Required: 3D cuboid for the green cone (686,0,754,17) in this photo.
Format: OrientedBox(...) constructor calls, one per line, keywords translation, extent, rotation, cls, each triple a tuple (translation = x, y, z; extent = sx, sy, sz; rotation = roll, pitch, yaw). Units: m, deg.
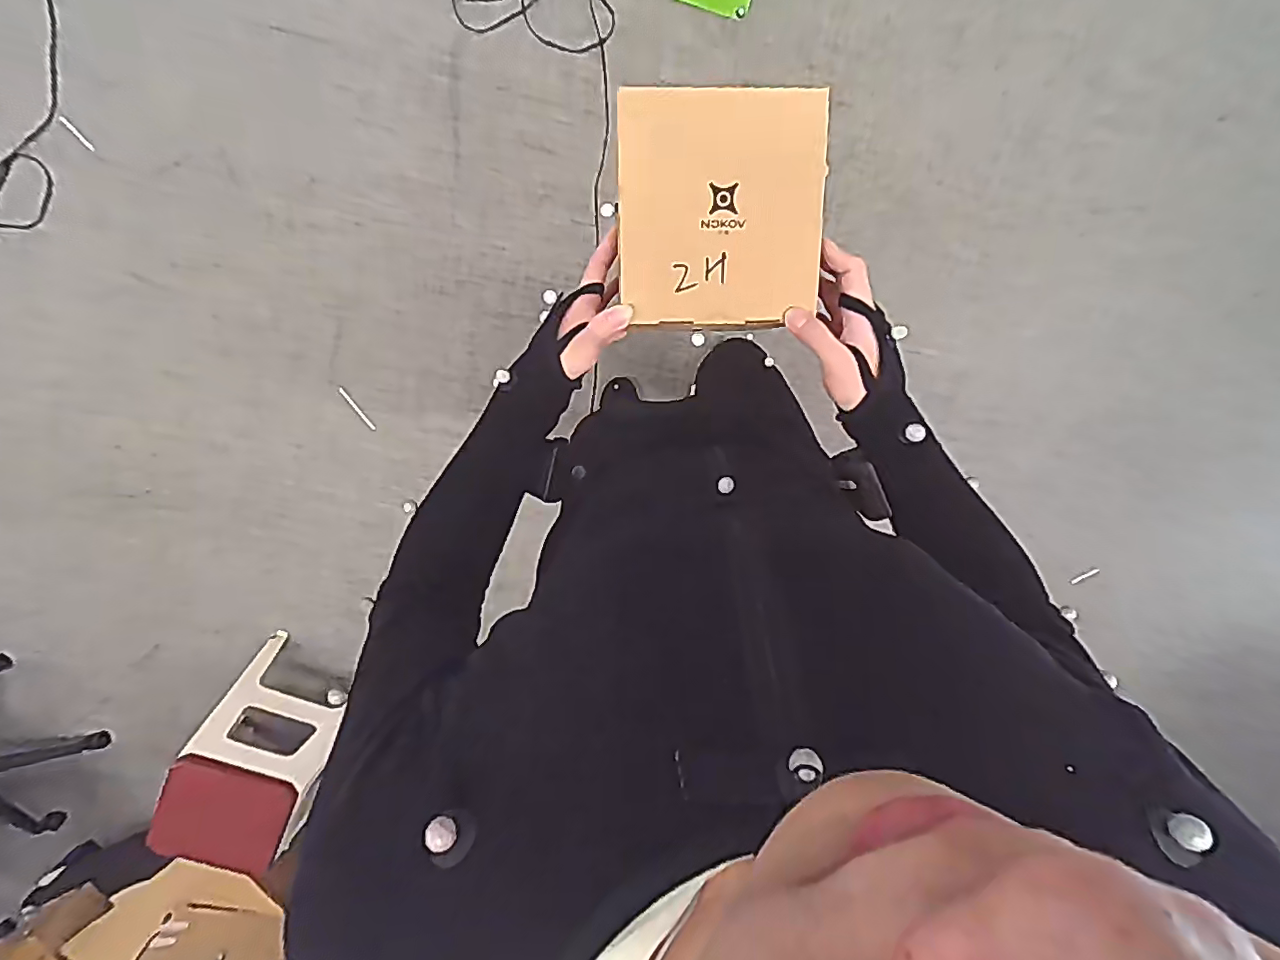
OrientedBox(translation=(0.202, -1.201, 1.123), extent=(0.202, 0.368, 0.200), rotation=(12, 102, -6), cls="green cone")
